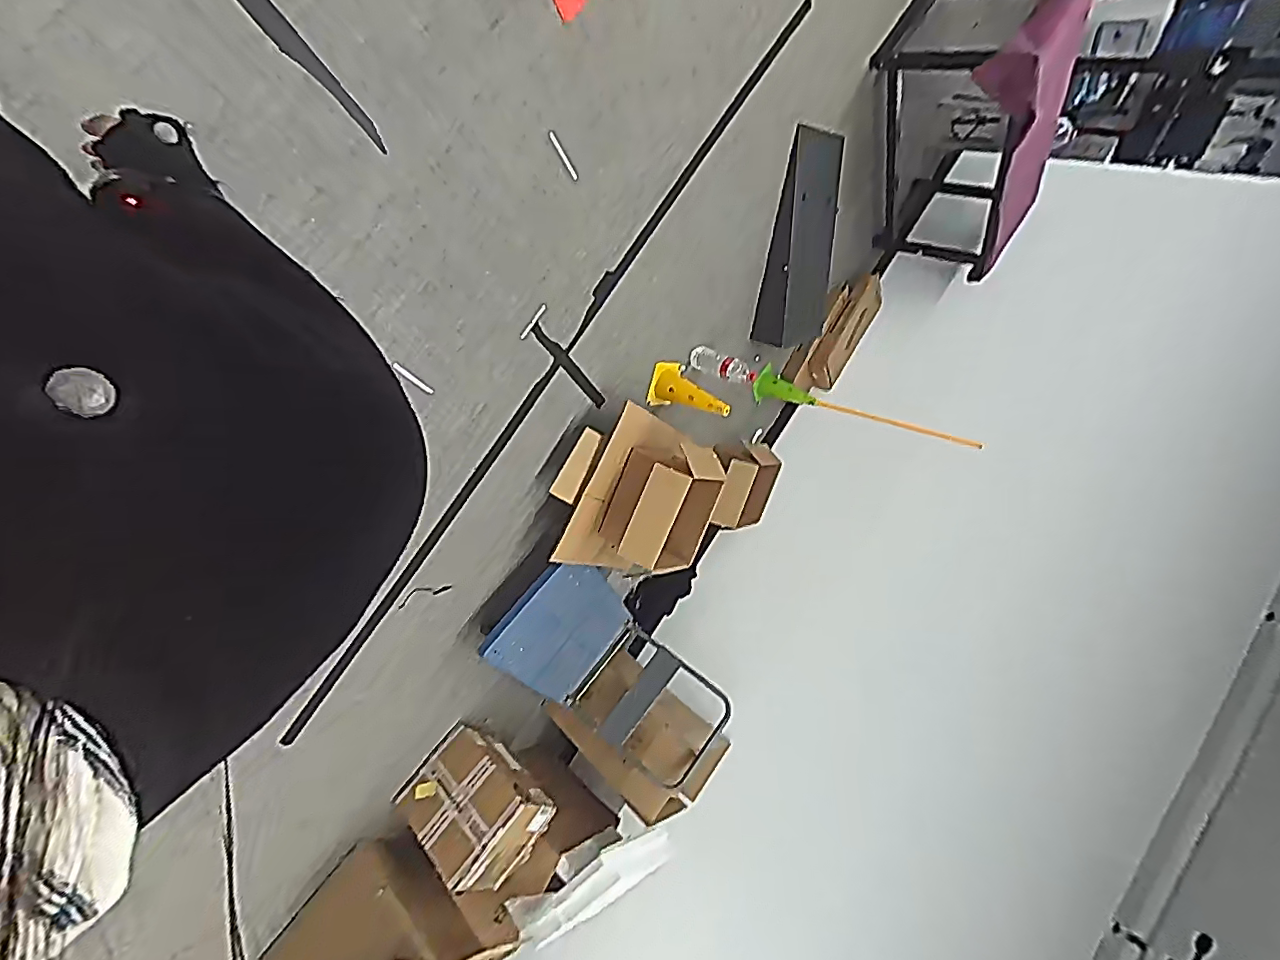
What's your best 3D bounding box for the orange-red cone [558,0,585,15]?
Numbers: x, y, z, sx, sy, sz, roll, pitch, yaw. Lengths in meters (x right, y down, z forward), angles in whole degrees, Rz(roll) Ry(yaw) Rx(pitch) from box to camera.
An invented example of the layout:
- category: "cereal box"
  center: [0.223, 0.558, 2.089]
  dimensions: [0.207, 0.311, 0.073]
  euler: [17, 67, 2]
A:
- category: "orange-red cone"
  center: [-0.047, -1.264, 1.274]
  dimensions: [0.198, 0.360, 0.199]
  euler: [-54, 148, -10]
